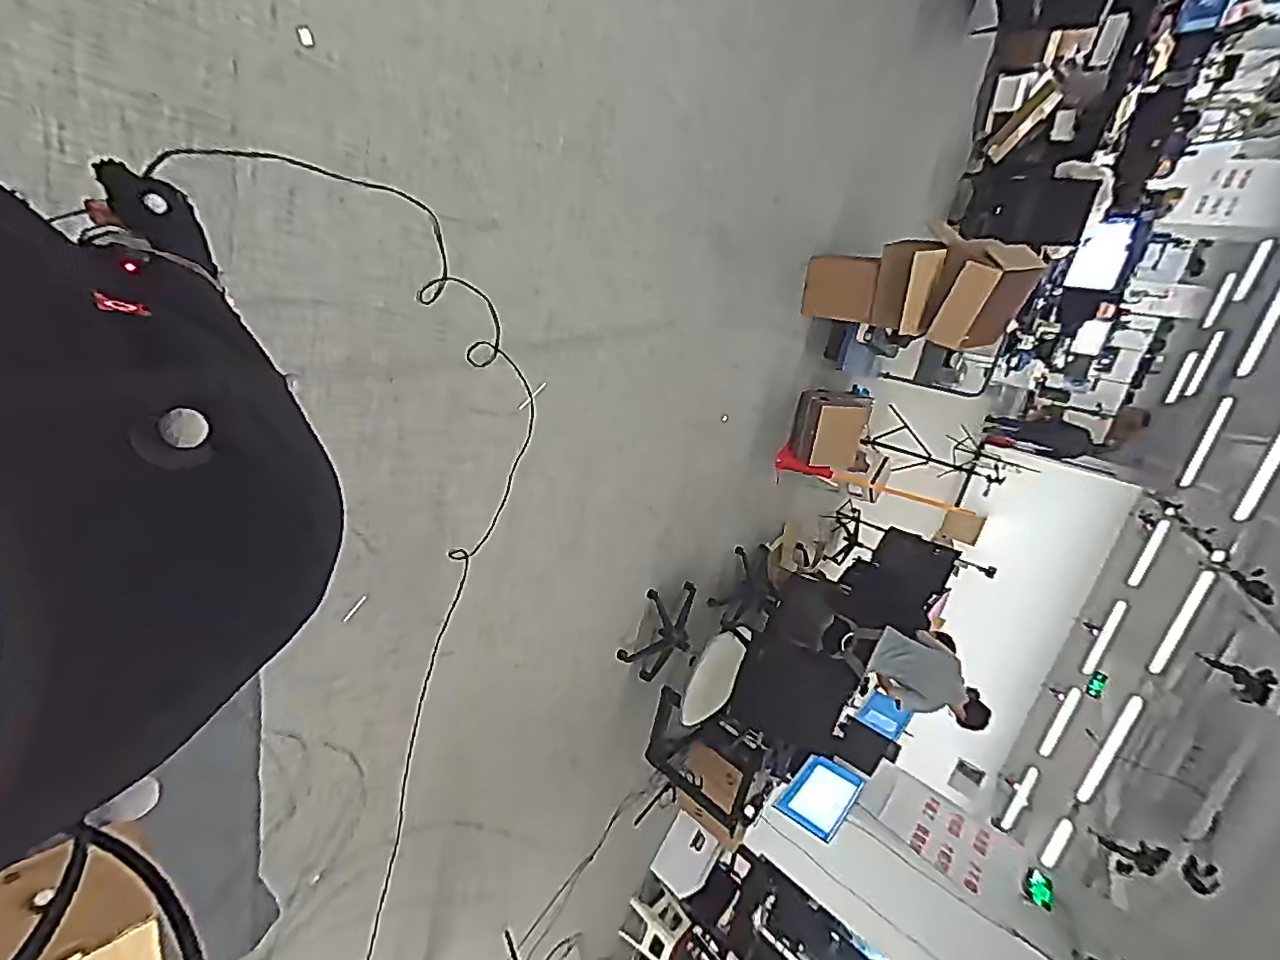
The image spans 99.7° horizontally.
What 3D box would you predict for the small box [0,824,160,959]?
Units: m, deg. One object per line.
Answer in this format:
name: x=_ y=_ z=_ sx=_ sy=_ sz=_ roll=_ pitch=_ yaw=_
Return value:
small box: x=-0.683 y=0.545 z=0.625 sx=0.168 sy=0.176 sz=0.179 roll=-10 pitch=117 yaw=-49
